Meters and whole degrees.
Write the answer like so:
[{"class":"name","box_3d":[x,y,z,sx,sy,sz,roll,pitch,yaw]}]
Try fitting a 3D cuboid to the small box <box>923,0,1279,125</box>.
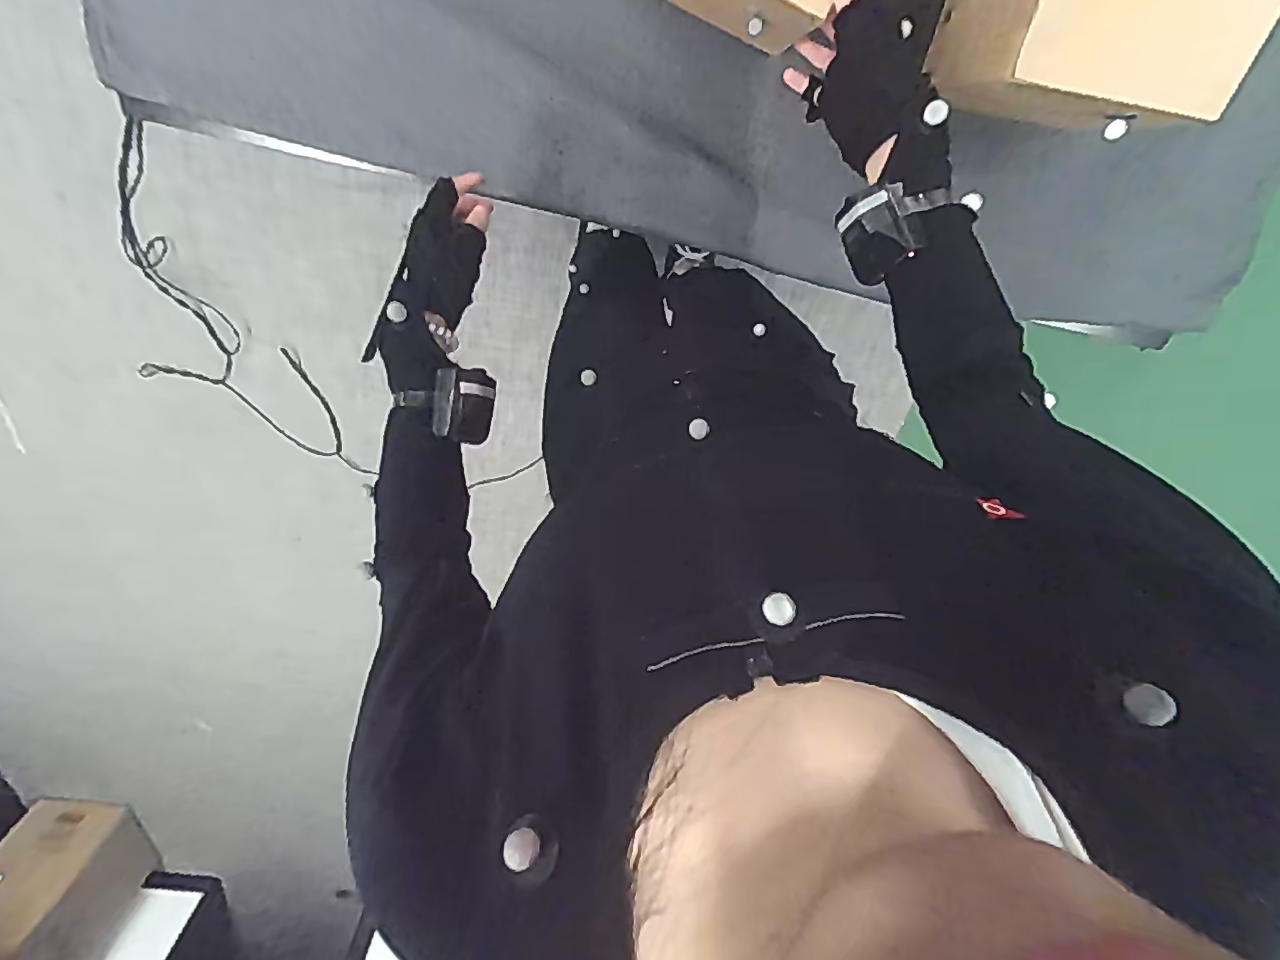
[{"class":"small box","box_3d":[0.372,-0.397,0.433,0.179,0.176,0.168,8,120,-4]}]
